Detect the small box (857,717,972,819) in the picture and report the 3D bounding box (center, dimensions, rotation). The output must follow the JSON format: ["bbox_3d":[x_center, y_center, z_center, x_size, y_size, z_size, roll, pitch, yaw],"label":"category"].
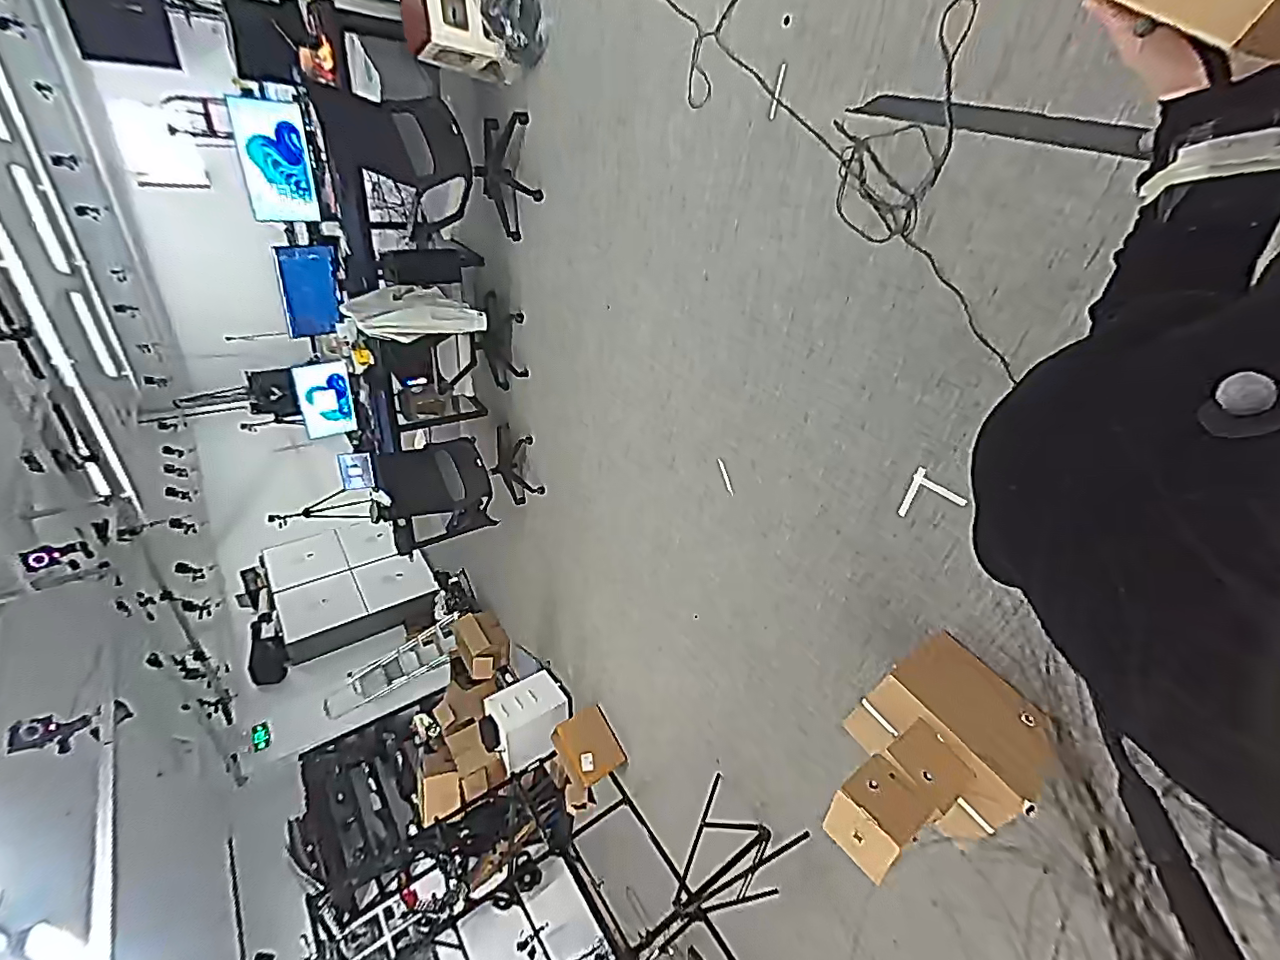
[{"bbox_3d":[0.717,0.760,1.410,0.179,0.176,0.168,49,140,32],"label":"small box"}]

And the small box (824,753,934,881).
[{"bbox_3d":[0.588,0.816,1.327,0.168,0.176,0.179,36,133,43],"label":"small box"}]
